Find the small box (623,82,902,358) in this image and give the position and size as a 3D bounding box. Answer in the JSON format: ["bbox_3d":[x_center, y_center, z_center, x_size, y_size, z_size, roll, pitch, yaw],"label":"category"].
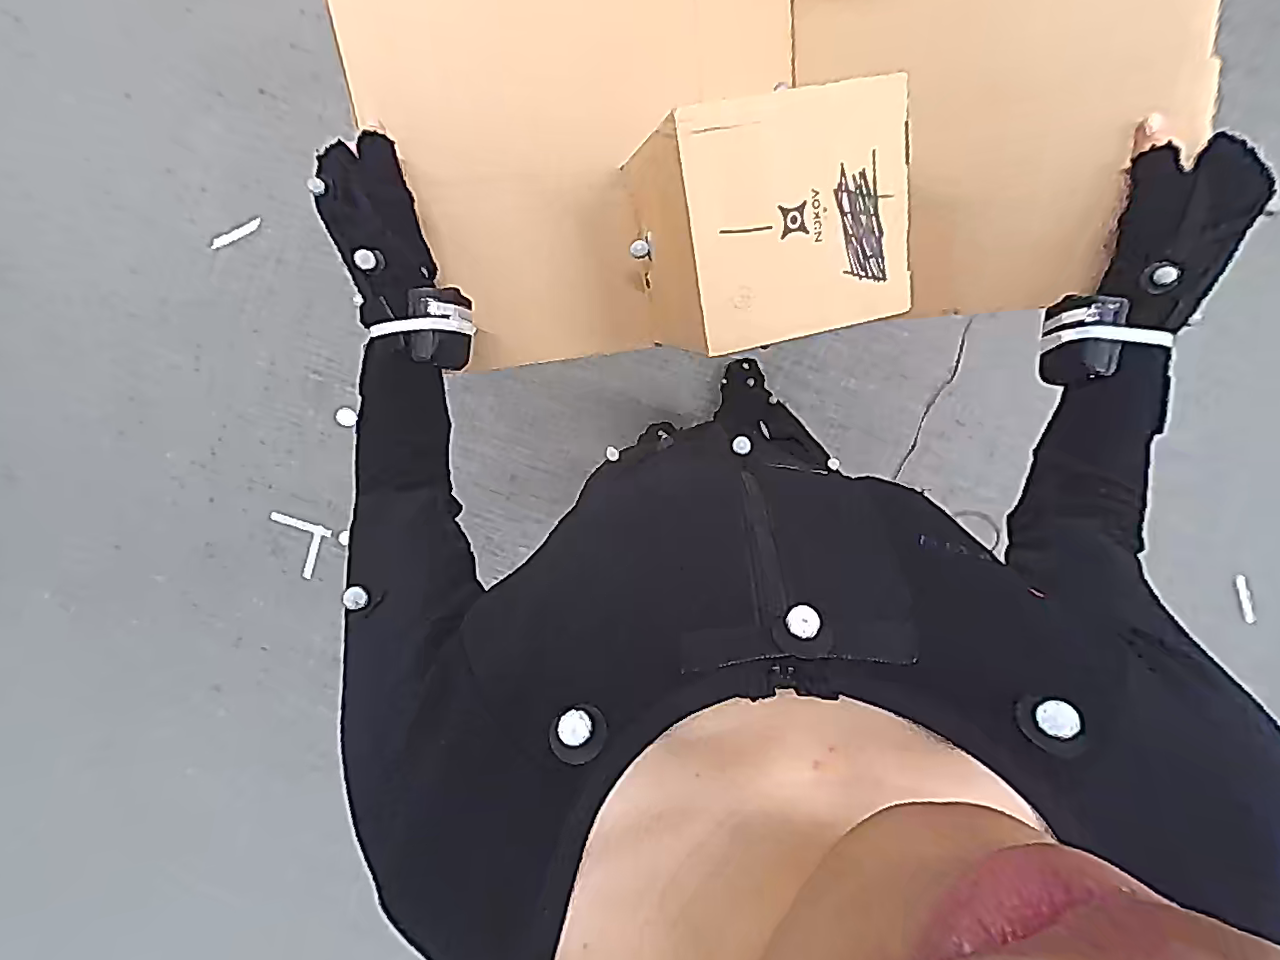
[{"bbox_3d":[0.097,-0.213,0.472,0.179,0.176,0.168,-15,110,-8],"label":"small box"}]
